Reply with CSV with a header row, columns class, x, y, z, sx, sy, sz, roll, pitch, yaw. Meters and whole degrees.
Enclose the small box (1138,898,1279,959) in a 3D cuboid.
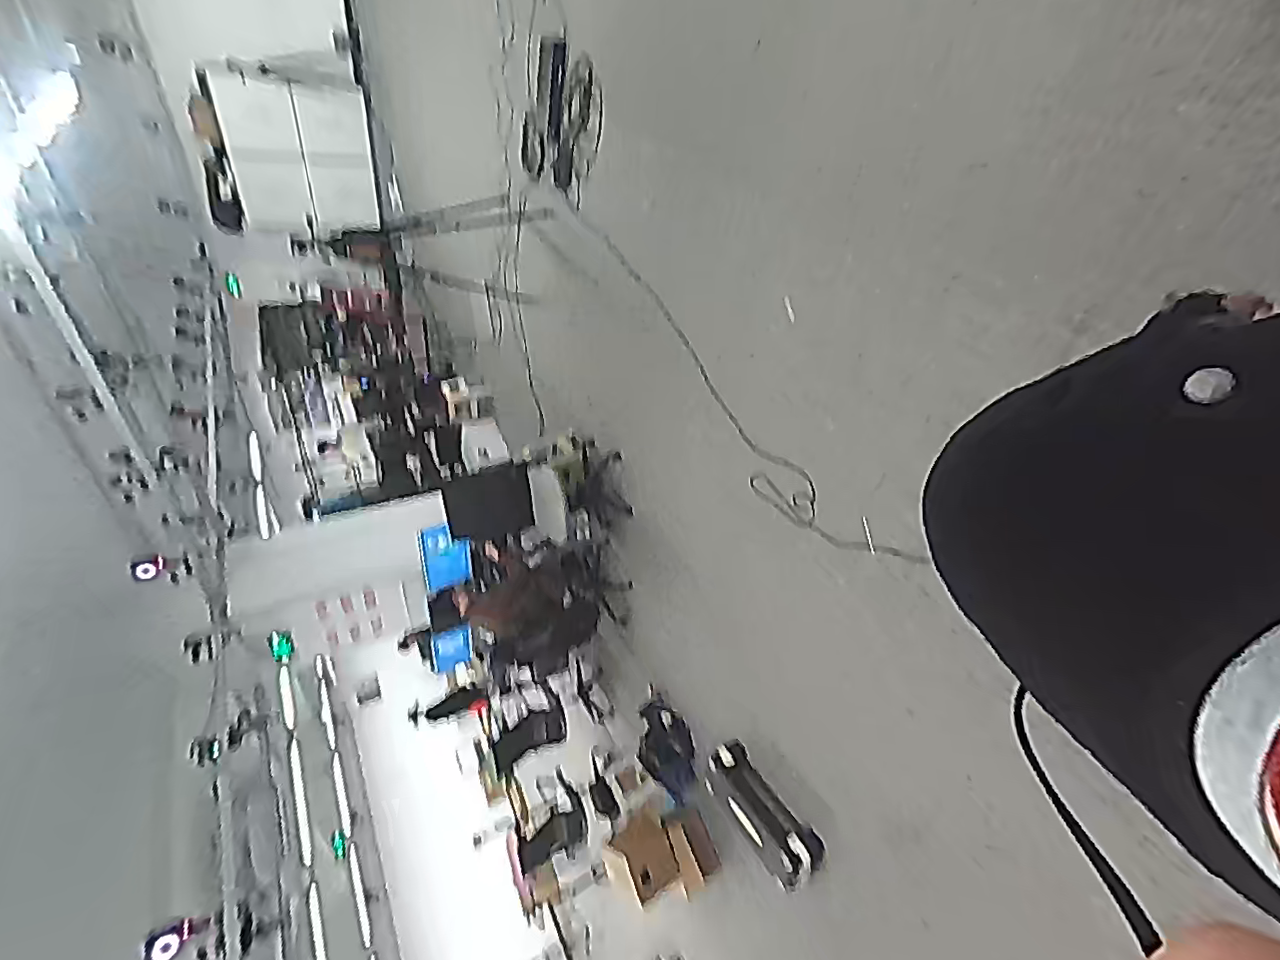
class,x,y,z,sx,sy,sz,roll,pitch,yaw
small box,1.390,1.176,1.316,0.168,0.176,0.179,45,139,38
